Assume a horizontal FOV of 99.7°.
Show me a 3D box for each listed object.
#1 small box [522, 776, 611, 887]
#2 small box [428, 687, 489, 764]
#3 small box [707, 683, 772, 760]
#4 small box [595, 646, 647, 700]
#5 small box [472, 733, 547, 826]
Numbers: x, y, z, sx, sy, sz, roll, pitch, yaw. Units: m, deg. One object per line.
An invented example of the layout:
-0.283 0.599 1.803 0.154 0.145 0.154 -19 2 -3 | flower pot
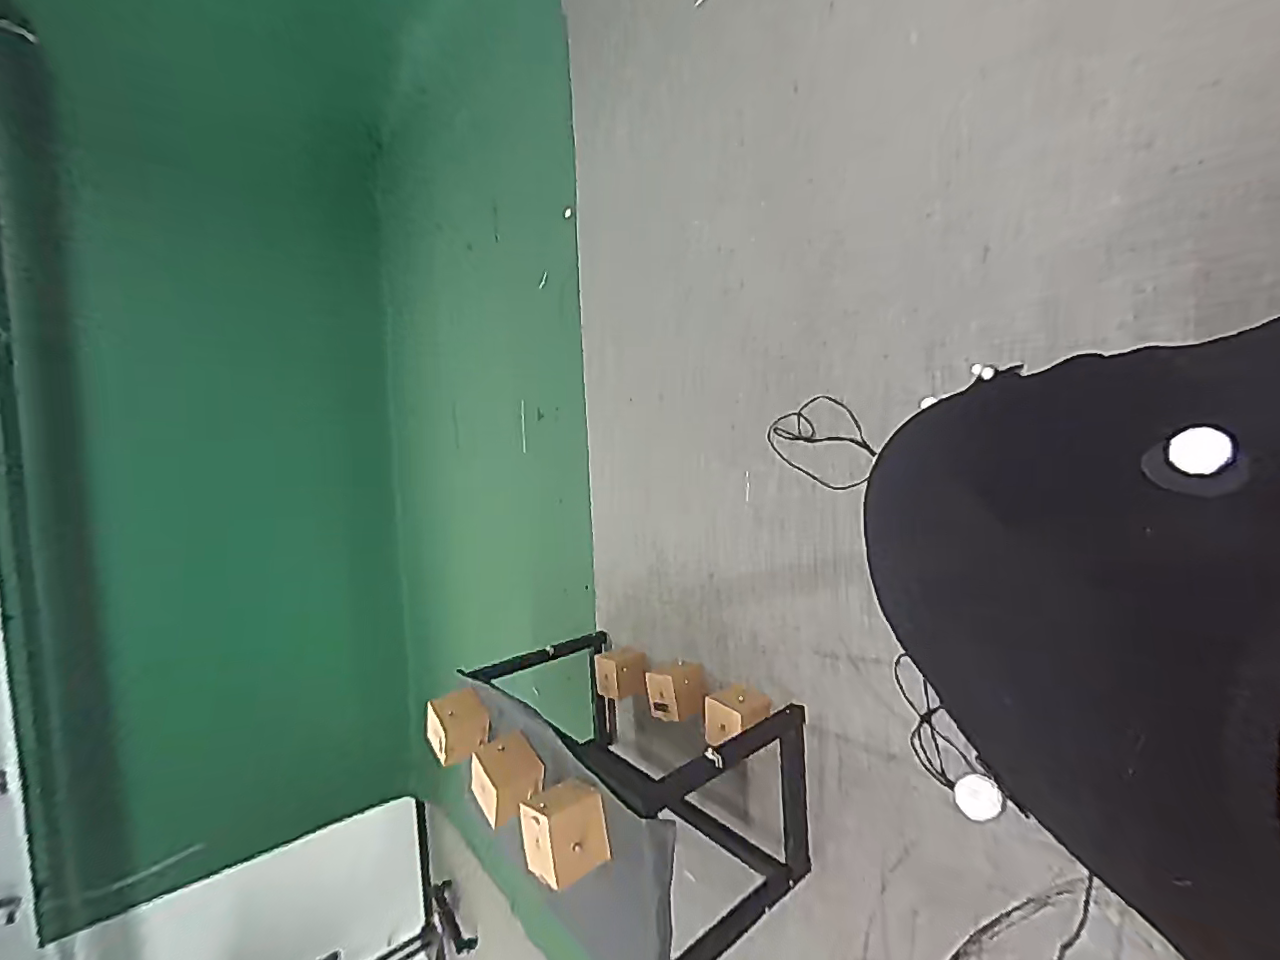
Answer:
-0.196 0.940 1.463 0.168 0.176 0.179 -19 79 49 | small box
-0.679 0.912 2.027 0.179 0.176 0.168 30 118 43 | small box
0.357 0.853 1.936 0.168 0.176 0.179 7 99 49 | small box
-0.084 0.869 2.454 0.168 0.176 0.179 -7 88 51 | small box
-0.419 0.945 1.730 0.179 0.176 0.168 28 118 43 | small box
